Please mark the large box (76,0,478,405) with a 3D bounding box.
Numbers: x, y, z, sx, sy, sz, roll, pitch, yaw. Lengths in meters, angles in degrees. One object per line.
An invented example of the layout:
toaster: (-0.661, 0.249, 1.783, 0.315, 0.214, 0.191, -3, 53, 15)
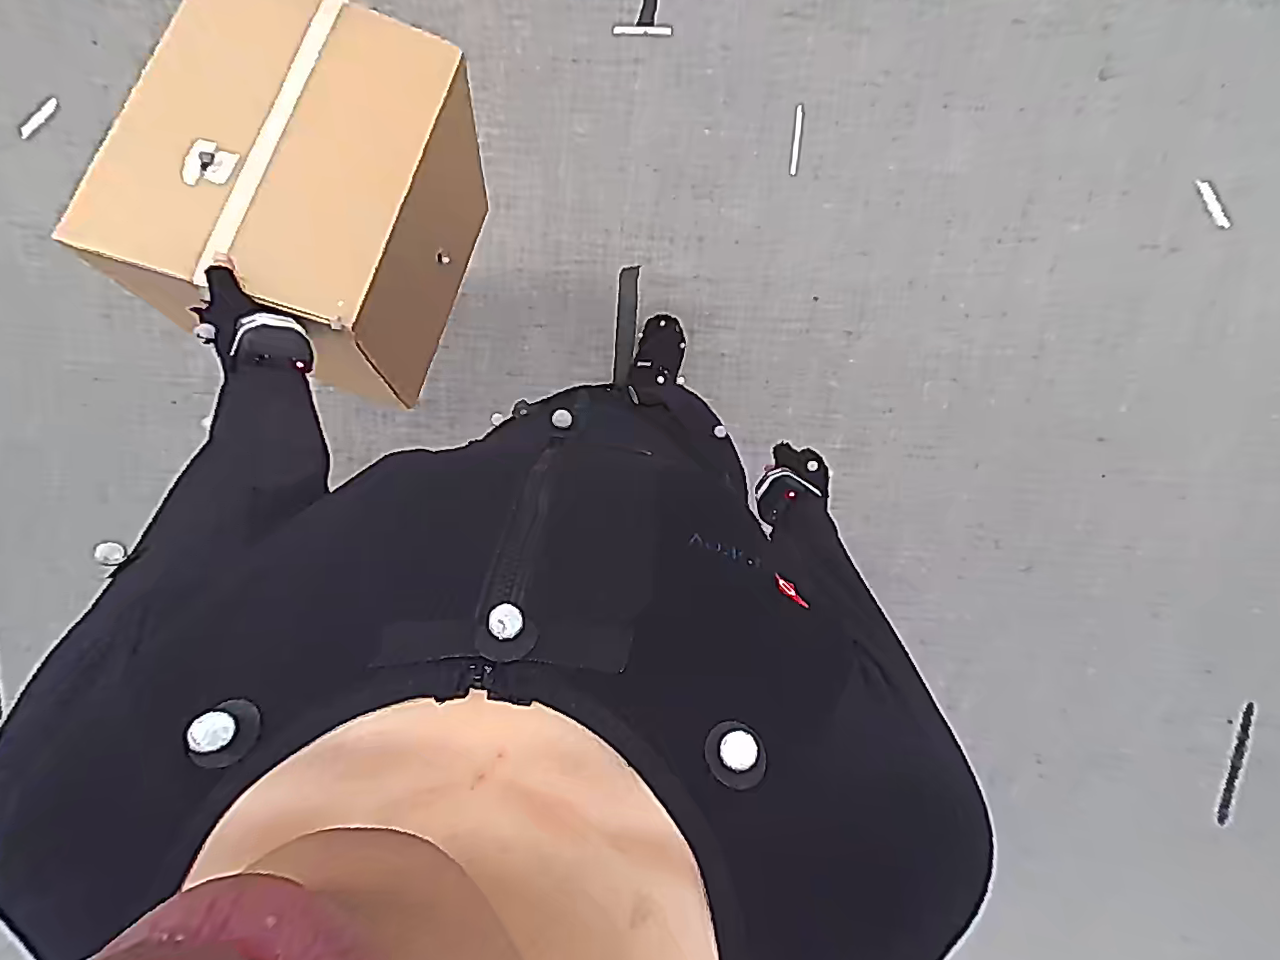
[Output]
large box: (-0.456, -0.376, 0.795, 0.320, 0.320, 0.408, 15, 77, -6)
